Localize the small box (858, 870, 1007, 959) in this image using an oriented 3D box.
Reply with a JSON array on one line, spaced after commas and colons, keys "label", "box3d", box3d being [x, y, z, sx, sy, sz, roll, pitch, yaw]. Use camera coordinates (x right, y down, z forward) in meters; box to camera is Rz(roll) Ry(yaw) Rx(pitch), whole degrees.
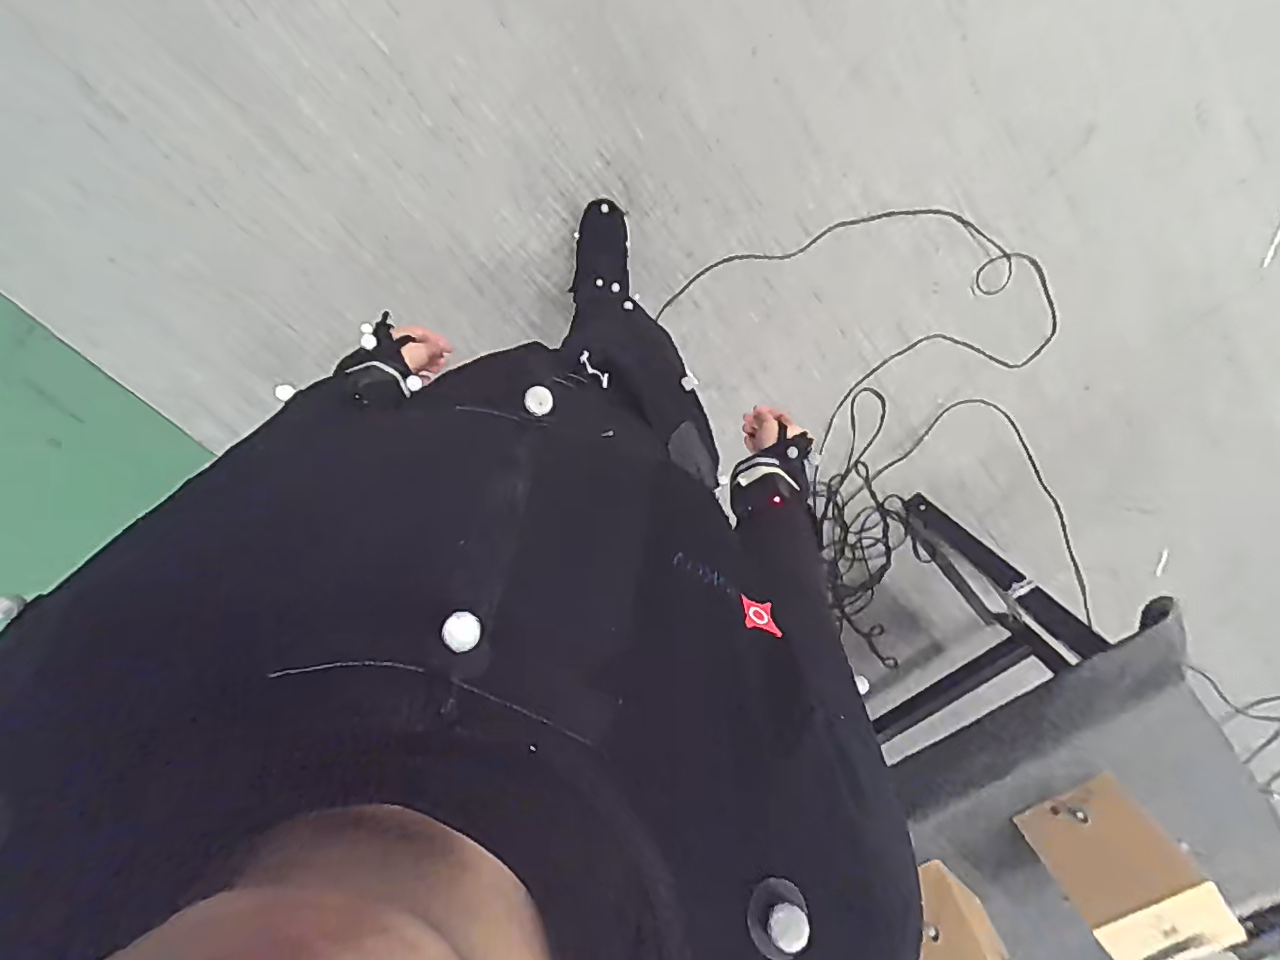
[{"label": "small box", "box3d": [0.495, 0.789, 0.891, 0.168, 0.176, 0.179, -38, 110, 13]}]
